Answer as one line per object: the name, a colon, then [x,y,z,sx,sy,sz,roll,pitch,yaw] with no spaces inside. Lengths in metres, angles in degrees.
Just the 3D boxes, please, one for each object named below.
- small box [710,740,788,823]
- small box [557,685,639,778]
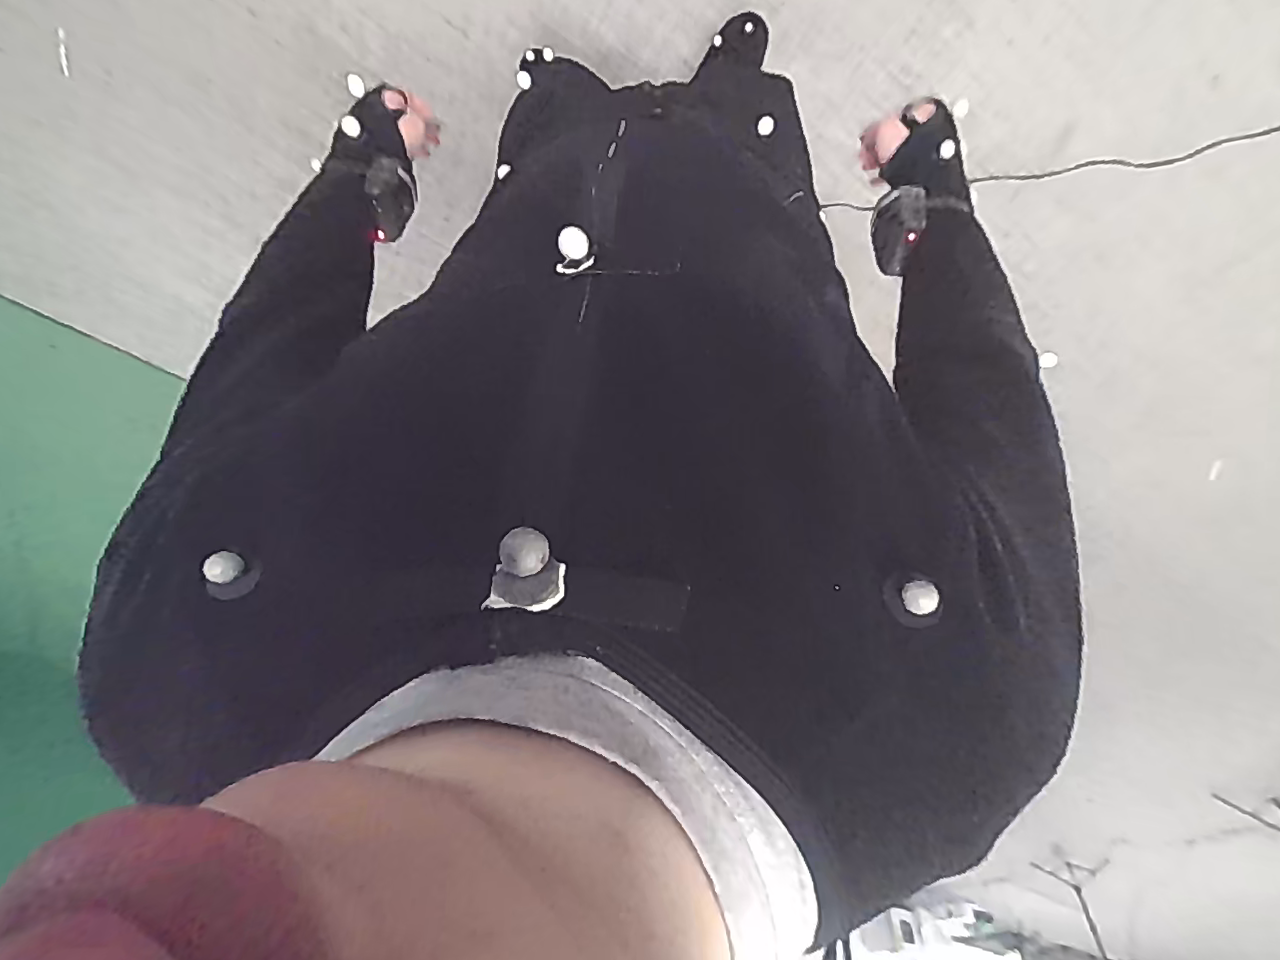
small box: [0.325,0.919,1.652,0.168,0.176,0.179,24,131,-13]
small box: [-0.113,0.711,1.529,0.168,0.176,0.179,25,130,-15]
